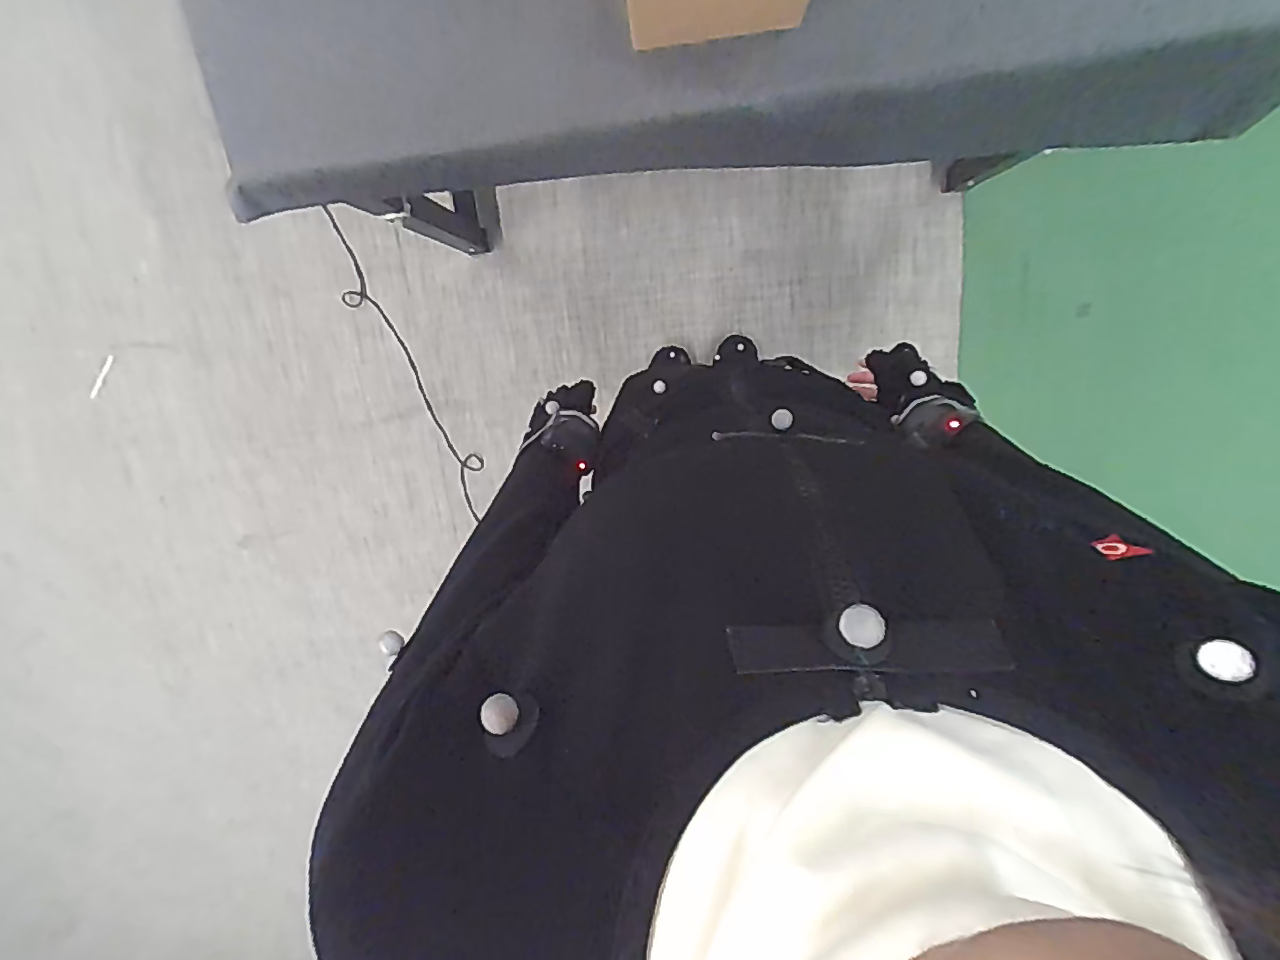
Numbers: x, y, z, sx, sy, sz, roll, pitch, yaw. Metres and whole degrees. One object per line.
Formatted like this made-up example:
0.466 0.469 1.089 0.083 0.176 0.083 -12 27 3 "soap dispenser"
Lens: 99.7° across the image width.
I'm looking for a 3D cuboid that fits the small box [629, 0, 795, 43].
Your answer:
0.068 -0.536 0.488 0.179 0.176 0.168 -5 105 4 "small box"
